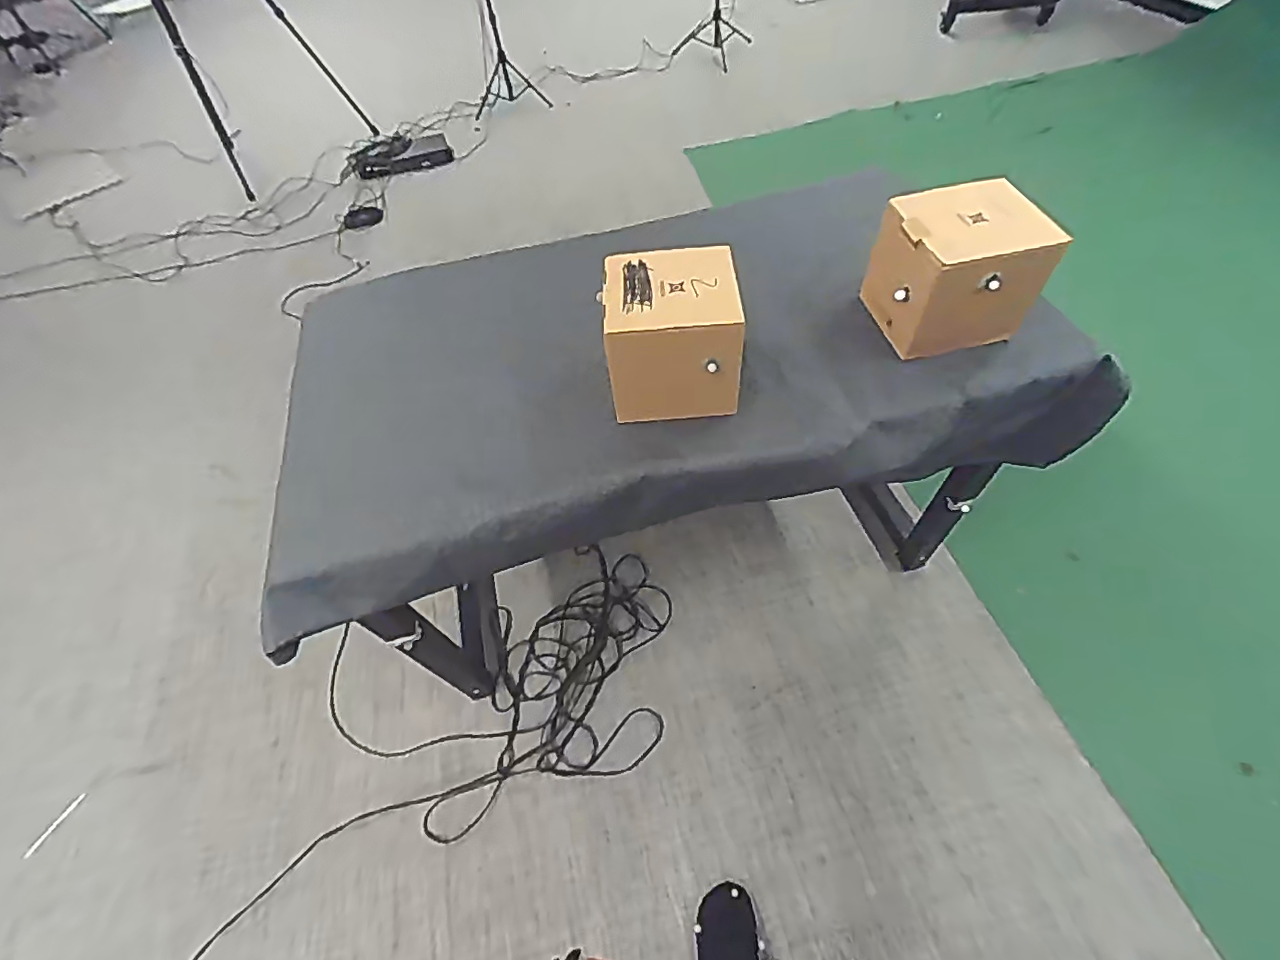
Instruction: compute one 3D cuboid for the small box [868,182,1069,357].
[{"bbox_3d":[0.459,-0.303,0.797,0.179,0.176,0.168,-11,56,-2],"label":"small box"}]
